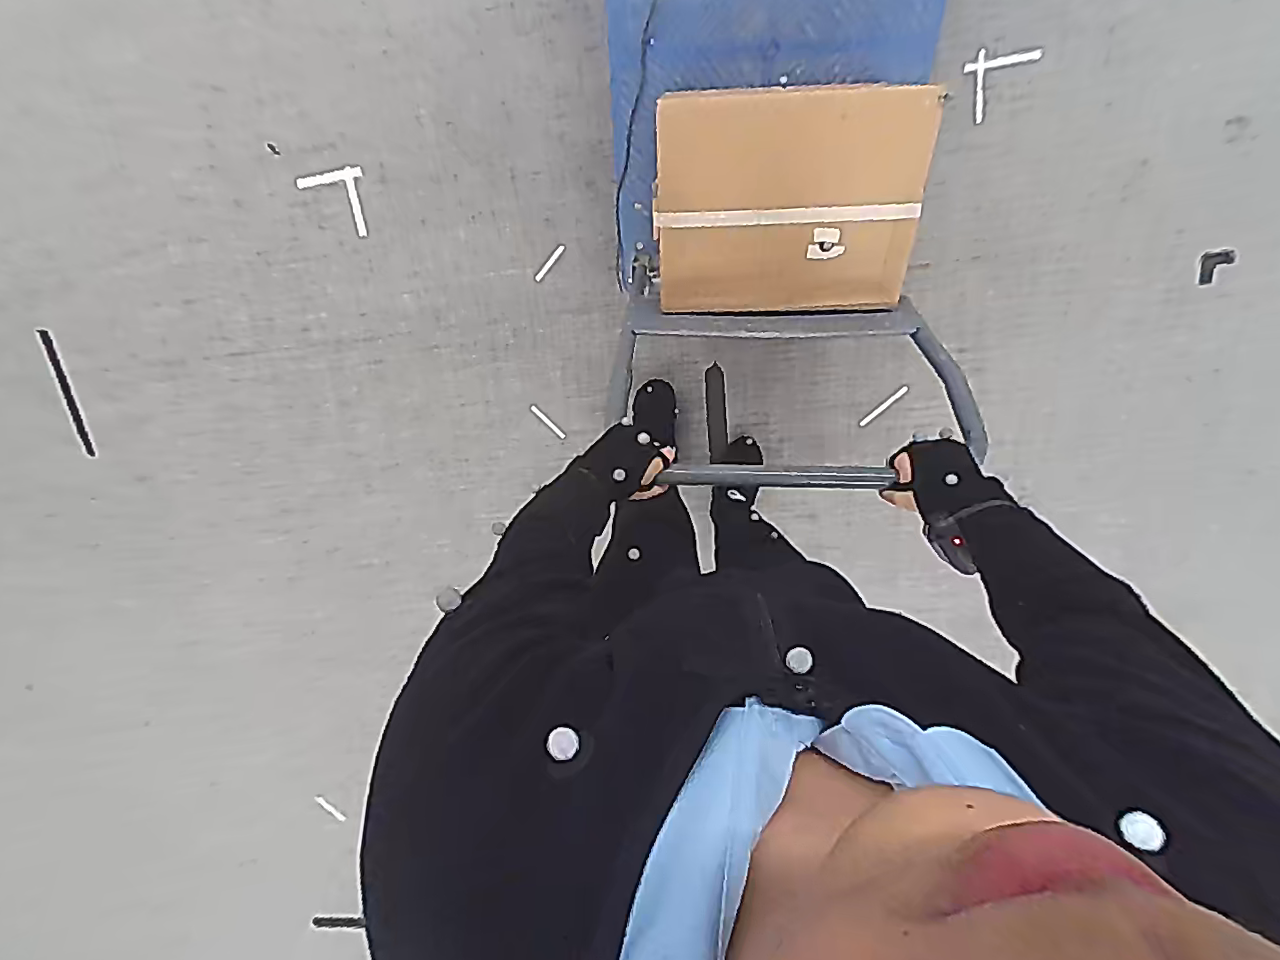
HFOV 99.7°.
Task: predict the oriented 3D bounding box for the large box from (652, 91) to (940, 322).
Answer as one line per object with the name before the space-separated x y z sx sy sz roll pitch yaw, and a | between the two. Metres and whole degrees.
large box | 0.235 -0.493 0.968 0.408 0.320 0.320 0 128 5
